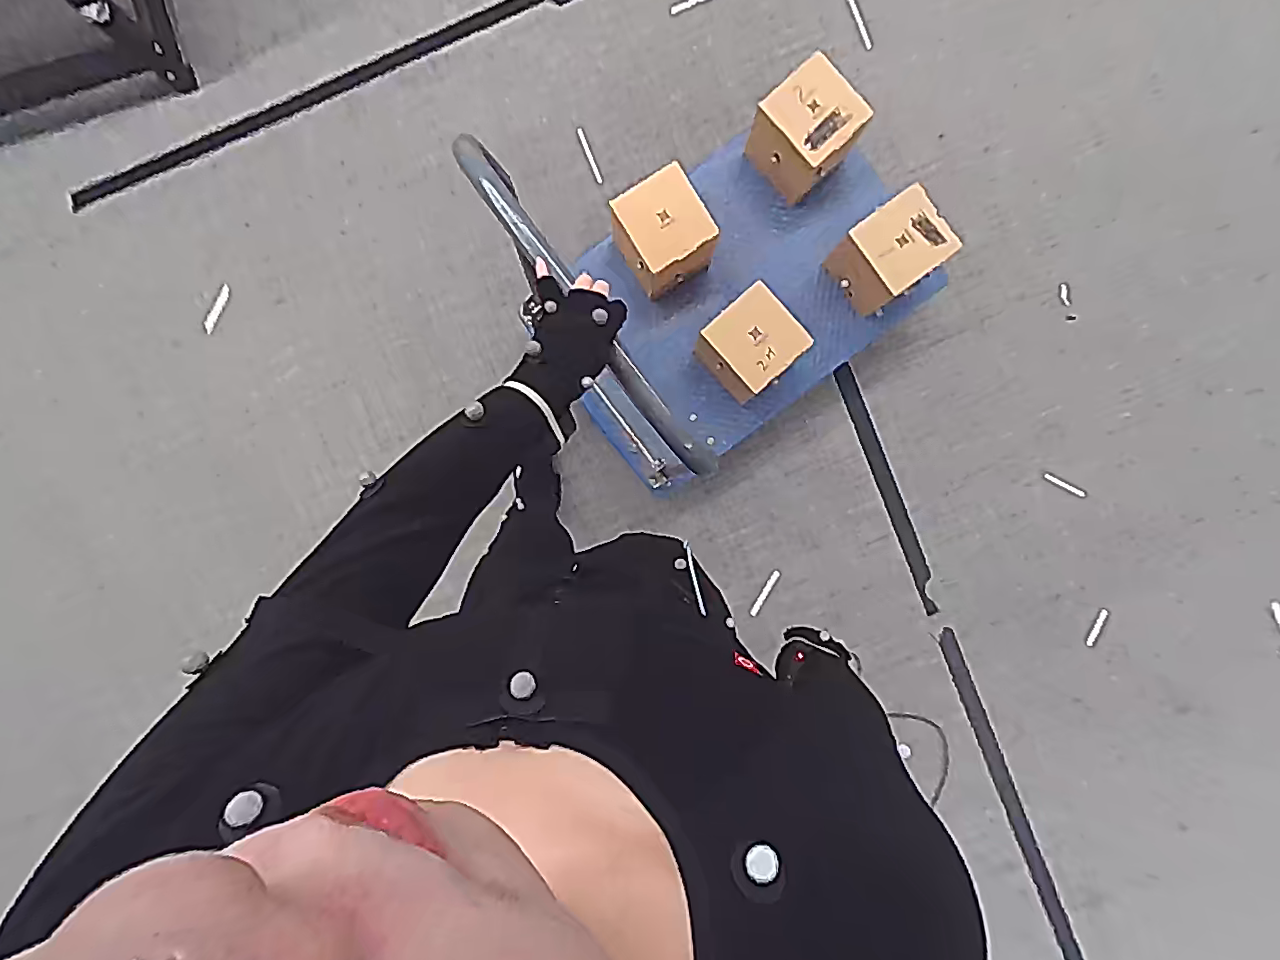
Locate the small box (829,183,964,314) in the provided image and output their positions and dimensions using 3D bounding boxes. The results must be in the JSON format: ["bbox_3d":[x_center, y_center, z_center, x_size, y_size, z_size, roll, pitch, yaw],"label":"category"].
[{"bbox_3d":[0.548,-0.494,1.181,0.179,0.176,0.168,-36,91,2],"label":"small box"}]

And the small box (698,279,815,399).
[{"bbox_3d":[0.245,-0.298,1.187,0.168,0.176,0.179,-41,91,1],"label":"small box"}]

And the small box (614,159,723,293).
[{"bbox_3d":[0.057,-0.543,1.183,0.168,0.176,0.179,-32,93,1],"label":"small box"}]
